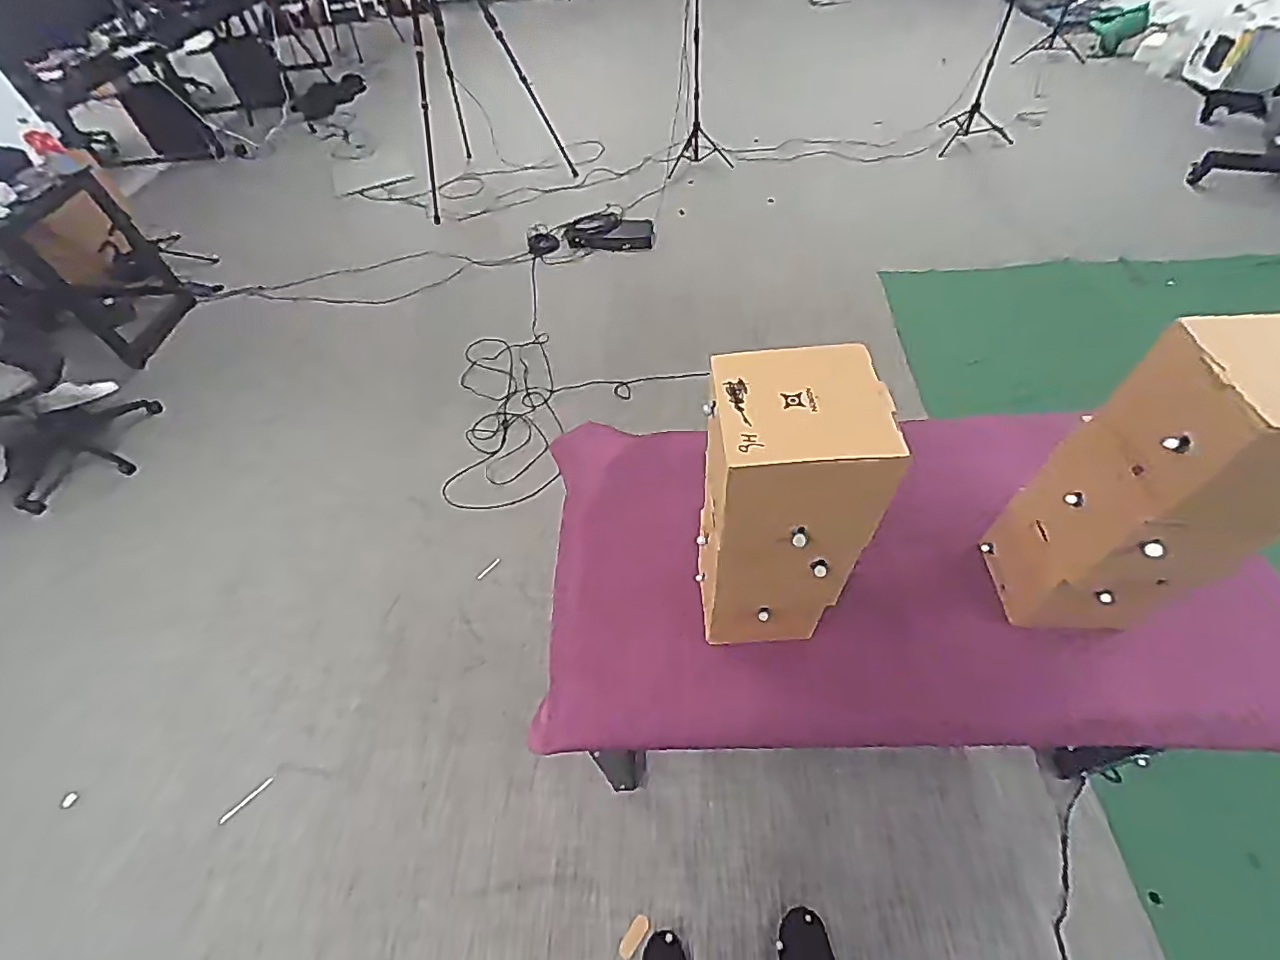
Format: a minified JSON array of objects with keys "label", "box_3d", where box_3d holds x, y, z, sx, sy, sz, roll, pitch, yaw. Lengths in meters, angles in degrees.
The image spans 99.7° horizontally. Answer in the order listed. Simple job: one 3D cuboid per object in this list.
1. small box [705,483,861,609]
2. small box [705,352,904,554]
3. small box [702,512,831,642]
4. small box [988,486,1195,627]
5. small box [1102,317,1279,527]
[{"label":"small box","box_3d":[0.185,0.071,0.758,0.179,0.176,0.168,-3,52,4]},{"label":"small box","box_3d":[0.171,-0.026,0.627,0.179,0.176,0.168,-3,52,3]},{"label":"small box","box_3d":[0.197,0.159,0.898,0.179,0.176,0.168,-5,52,4]},{"label":"small box","box_3d":[0.693,0.125,0.864,0.179,0.176,0.168,-1,52,6]},{"label":"small box","box_3d":[0.664,-0.060,0.596,0.179,0.176,0.168,1,53,7]}]
